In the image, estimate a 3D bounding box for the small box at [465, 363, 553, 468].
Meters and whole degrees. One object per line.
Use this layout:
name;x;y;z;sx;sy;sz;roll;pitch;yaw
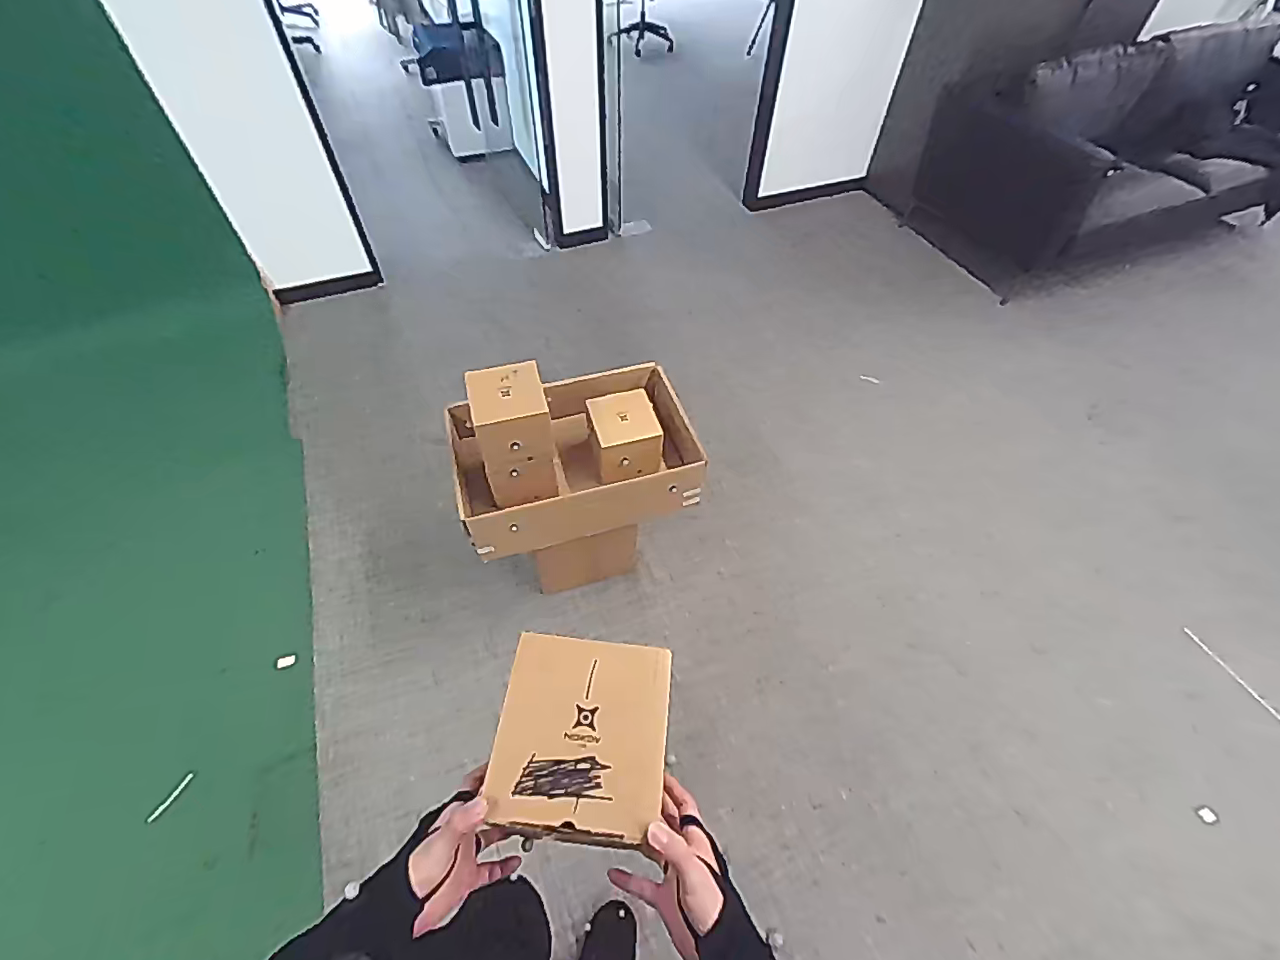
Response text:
small box;-0.305;-0.145;1.277;0.168;0.176;0.179;-12;54;-11

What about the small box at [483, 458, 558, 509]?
small box;-0.314;-0.051;1.411;0.168;0.176;0.179;-12;54;-9

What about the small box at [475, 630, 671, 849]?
small box;-0.060;0.289;0.593;0.168;0.176;0.179;7;52;2

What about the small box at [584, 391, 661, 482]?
small box;-0.047;-0.111;1.466;0.168;0.176;0.179;-13;54;-11
